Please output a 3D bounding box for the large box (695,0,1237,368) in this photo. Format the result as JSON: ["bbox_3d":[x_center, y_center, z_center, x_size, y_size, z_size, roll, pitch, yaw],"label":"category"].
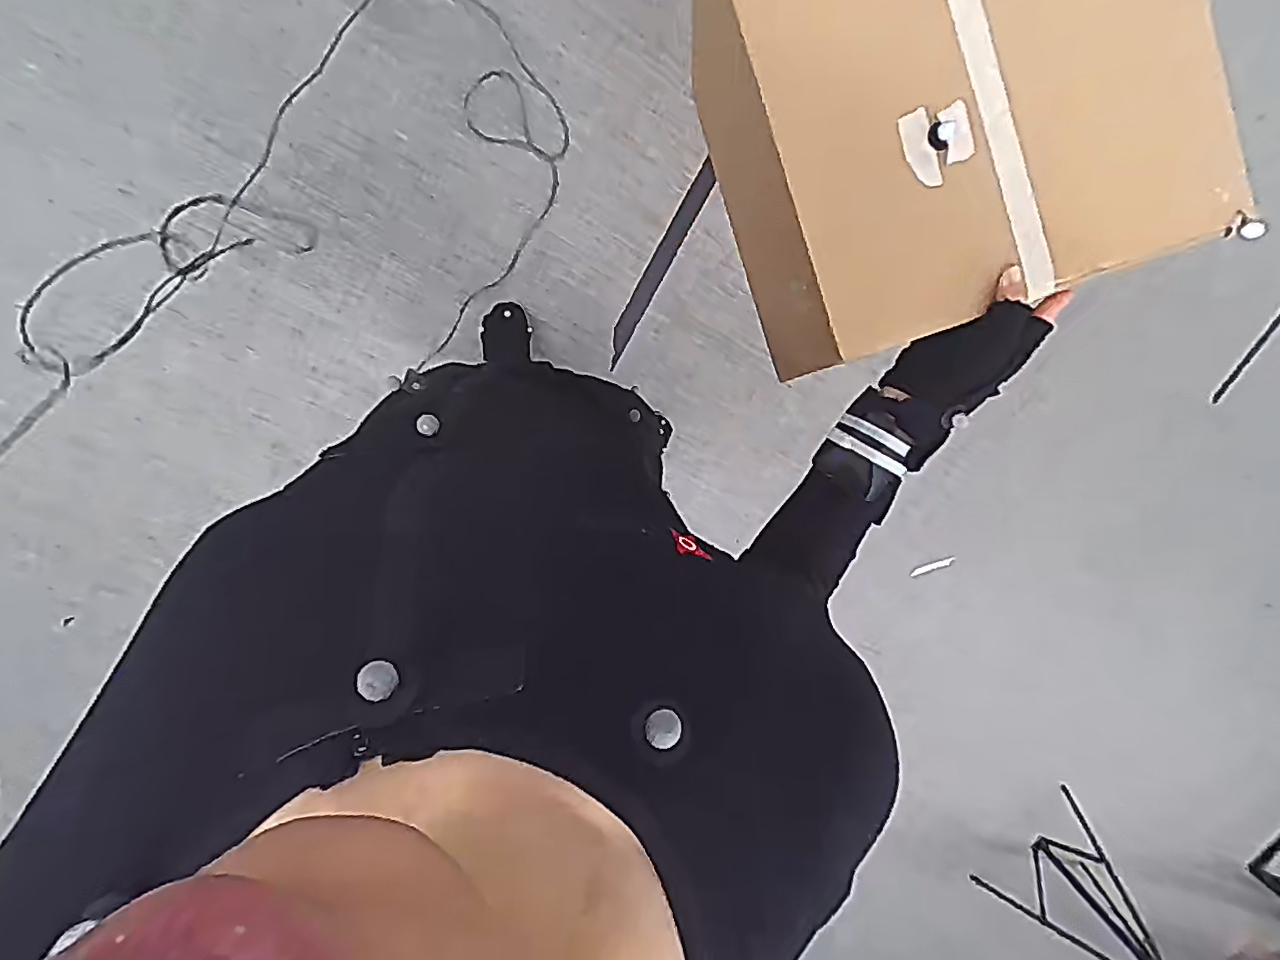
[{"bbox_3d":[0.265,-0.364,0.562,0.320,0.320,0.408,-18,96,8],"label":"large box"}]
